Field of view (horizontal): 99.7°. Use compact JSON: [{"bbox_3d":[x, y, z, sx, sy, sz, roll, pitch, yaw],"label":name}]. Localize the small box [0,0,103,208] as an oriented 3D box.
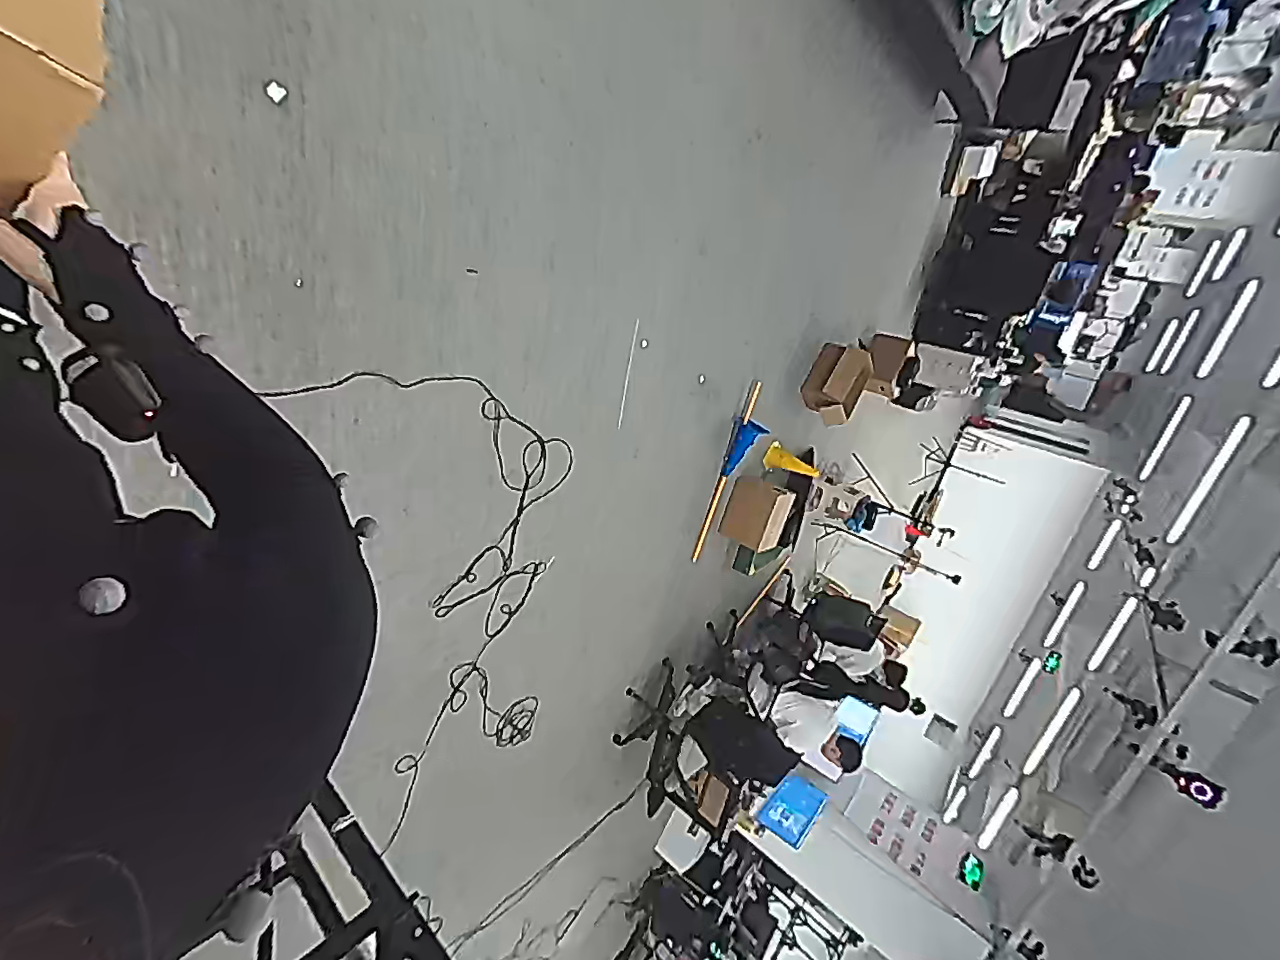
[{"bbox_3d":[-0.492,-0.324,0.346,0.168,0.176,0.179,11,60,-63],"label":"small box"}]
